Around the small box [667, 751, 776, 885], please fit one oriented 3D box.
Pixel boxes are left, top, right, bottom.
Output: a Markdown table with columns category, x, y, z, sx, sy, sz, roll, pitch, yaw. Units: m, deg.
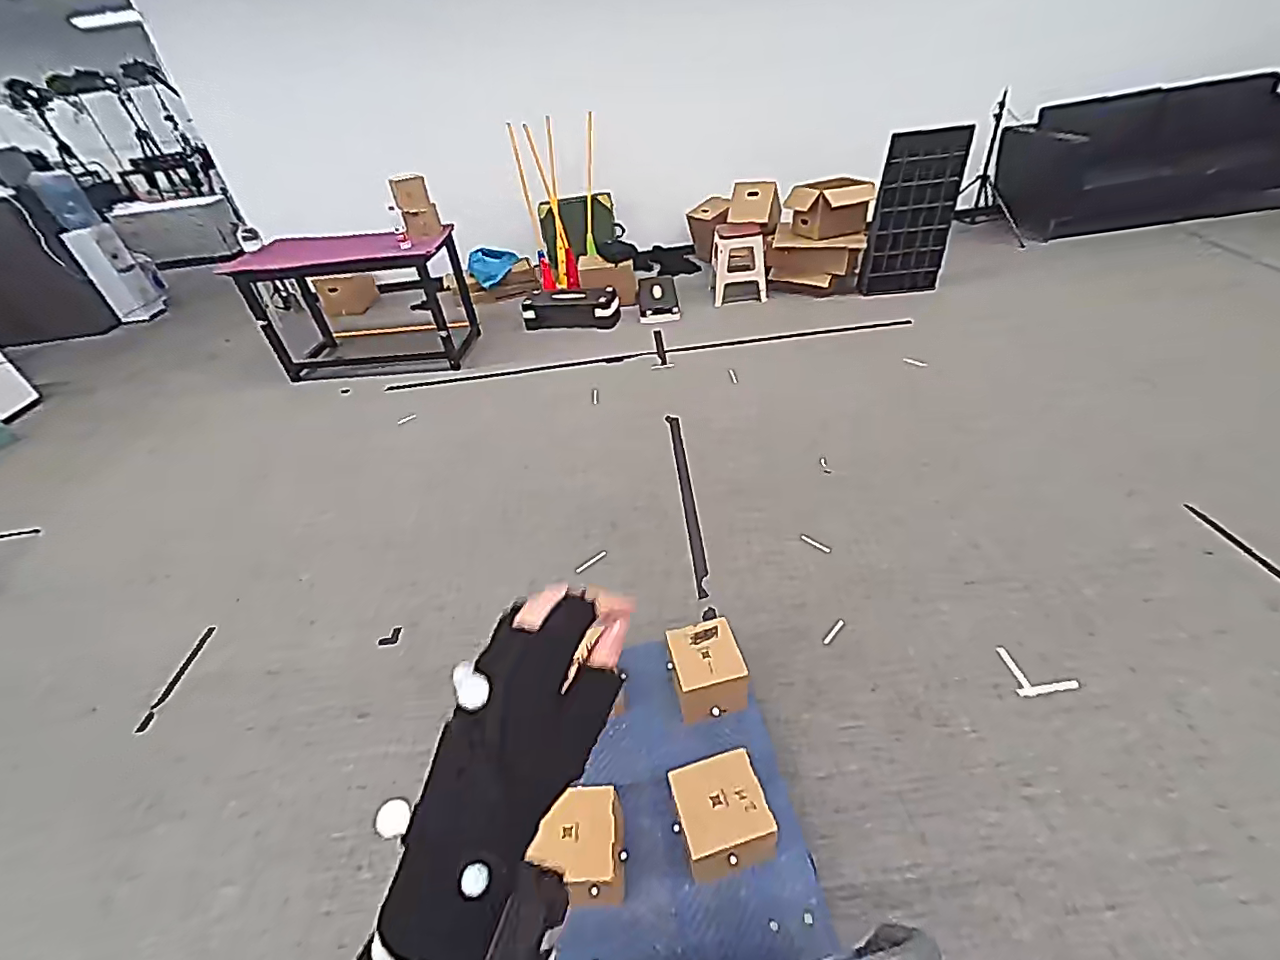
| category | x | y | z | sx | sy | sz | roll | pitch | yaw |
| --- | --- | --- | --- | --- | --- | --- | --- | --- | --- |
| small box | 0.168 | 0.706 | 1.126 | 0.179 | 0.176 | 0.168 | -14 | 39 | -8 |

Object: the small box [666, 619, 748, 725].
| category | x | y | z | sx | sy | sz | roll | pitch | yaw |
| --- | --- | --- | --- | --- | --- | --- | --- | --- | --- |
| small box | 0.168 | 0.493 | 1.389 | 0.168 | 0.176 | 0.179 | -13 | 40 | -6 |

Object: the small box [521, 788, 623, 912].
| category | x | y | z | sx | sy | sz | roll | pitch | yaw |
| --- | --- | --- | --- | --- | --- | --- | --- | --- | --- |
| small box | -0.130 | 0.762 | 1.110 | 0.179 | 0.176 | 0.168 | -5 | 38 | 1 |
